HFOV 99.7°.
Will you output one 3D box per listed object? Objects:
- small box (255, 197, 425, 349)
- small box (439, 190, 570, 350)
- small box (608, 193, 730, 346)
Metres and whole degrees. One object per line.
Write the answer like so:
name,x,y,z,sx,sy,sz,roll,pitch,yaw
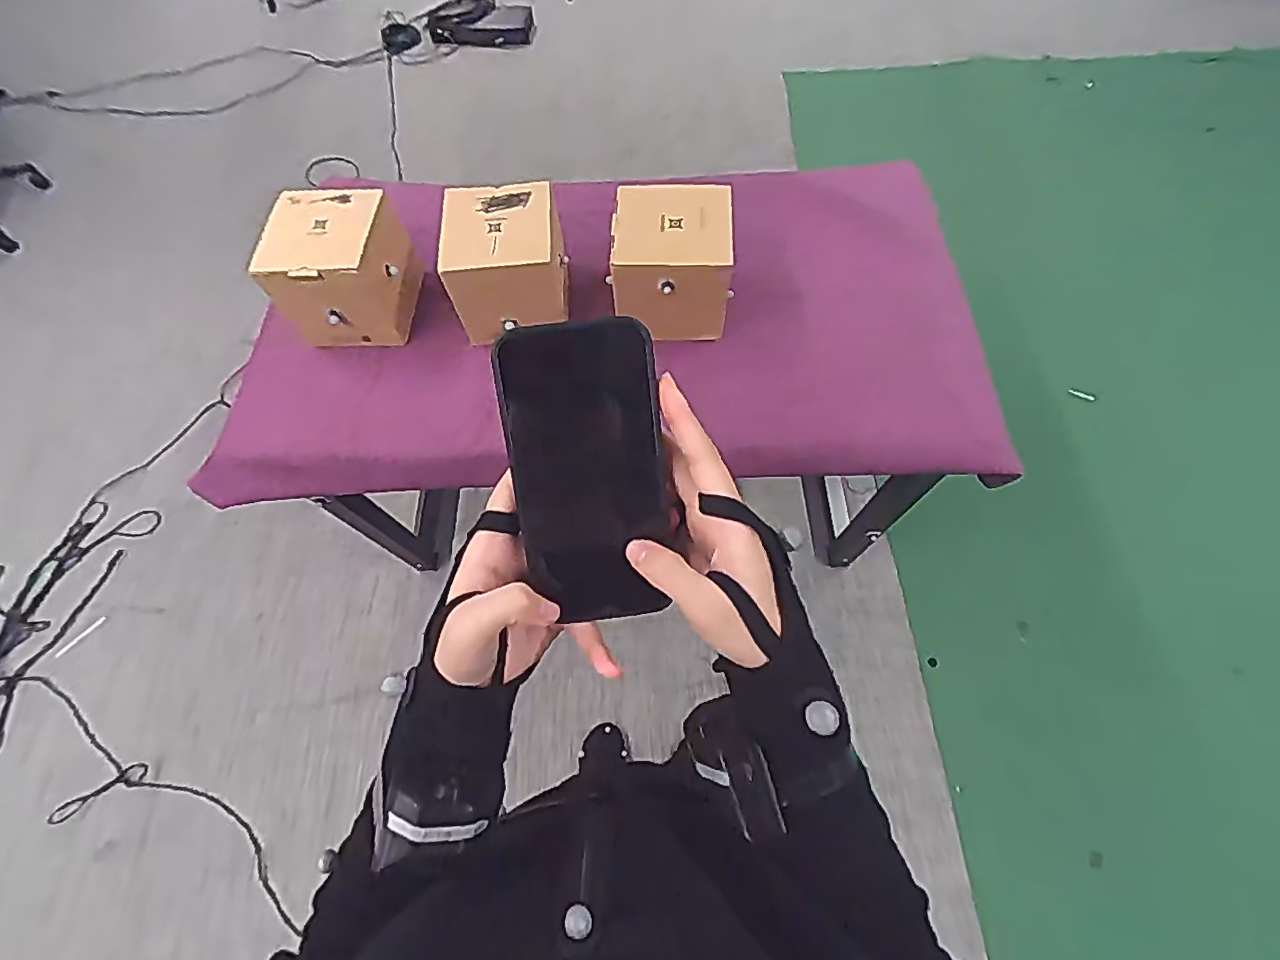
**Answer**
small box,-0.477,-0.333,0.893,0.168,0.176,0.179,0,65,3
small box,-0.210,-0.337,0.883,0.168,0.176,0.179,-5,65,1
small box,0.050,-0.332,0.870,0.179,0.176,0.168,2,65,4
